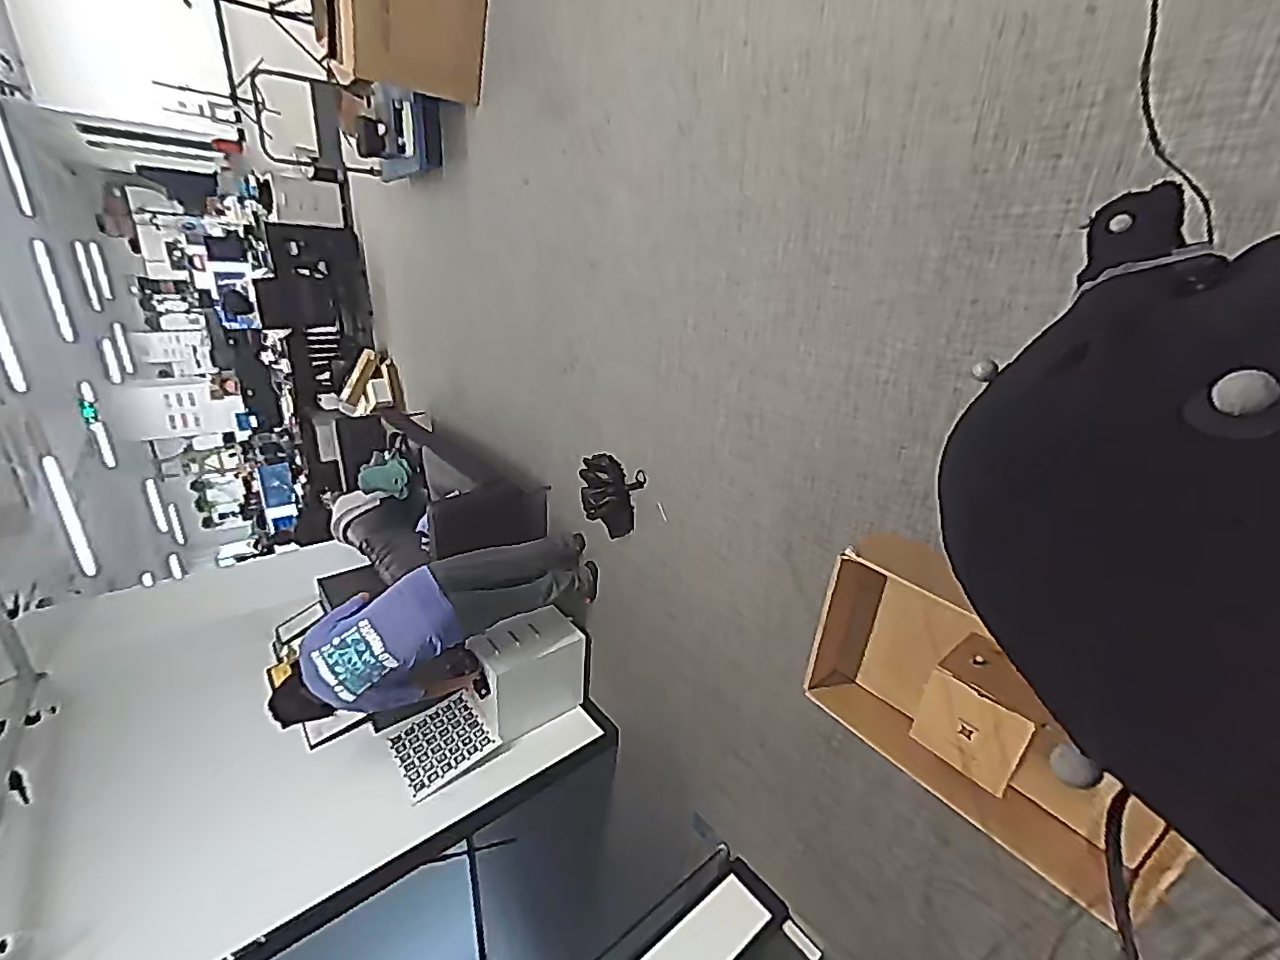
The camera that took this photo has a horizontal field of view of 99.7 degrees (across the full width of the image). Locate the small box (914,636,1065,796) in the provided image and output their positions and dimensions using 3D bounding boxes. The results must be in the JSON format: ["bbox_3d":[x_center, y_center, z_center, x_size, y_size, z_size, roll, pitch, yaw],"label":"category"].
[{"bbox_3d":[0.644,0.420,0.996,0.168,0.176,0.179,29,126,46],"label":"small box"}]
